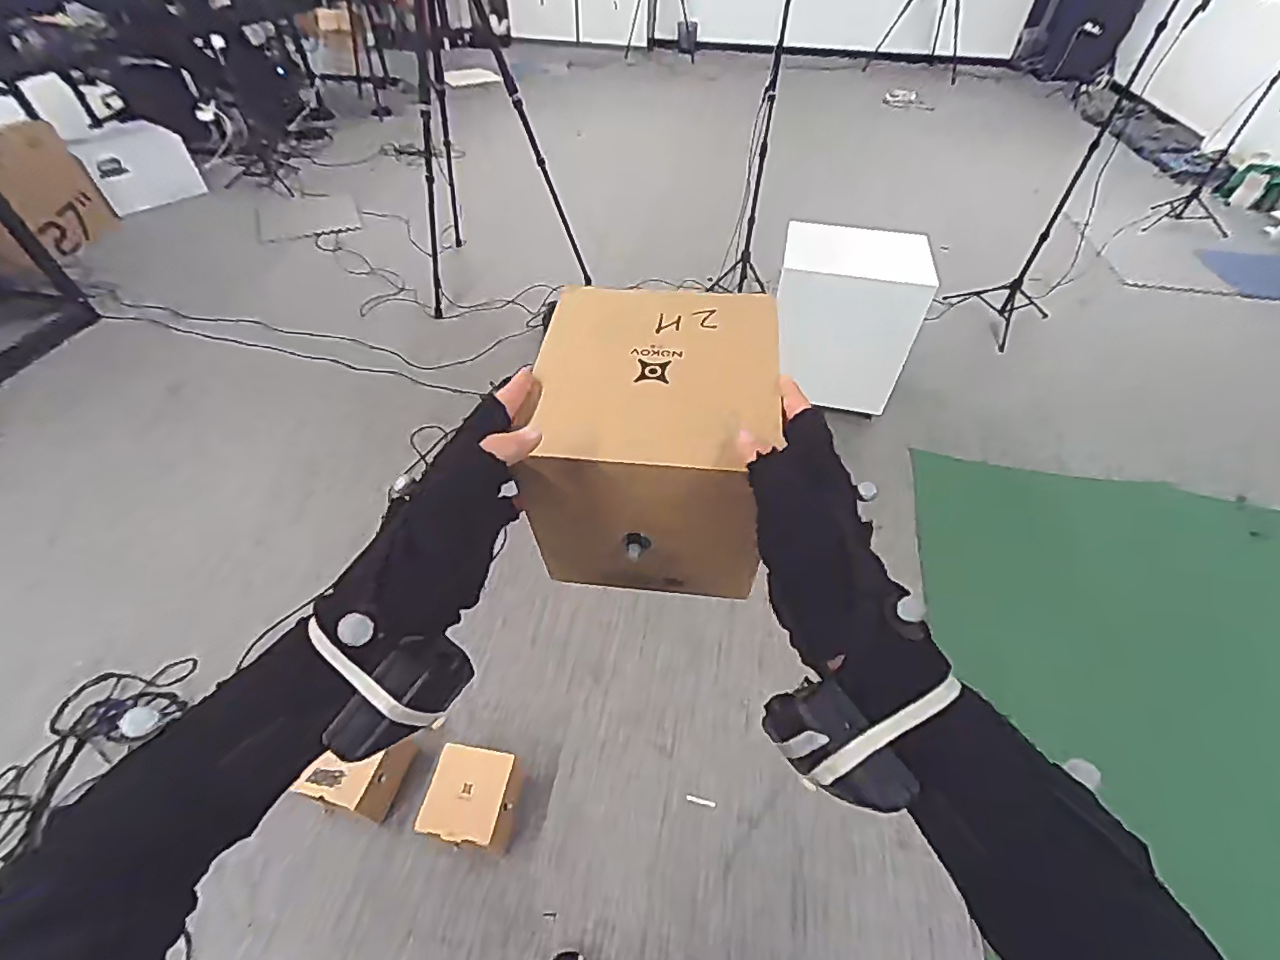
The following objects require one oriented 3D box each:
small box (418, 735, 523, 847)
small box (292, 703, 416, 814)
[{"bbox_3d":[-0.373,0.711,1.234,0.168,0.176,0.179,7,50,5],"label":"small box"},{"bbox_3d":[-0.657,0.659,1.272,0.168,0.176,0.179,11,49,8],"label":"small box"}]
